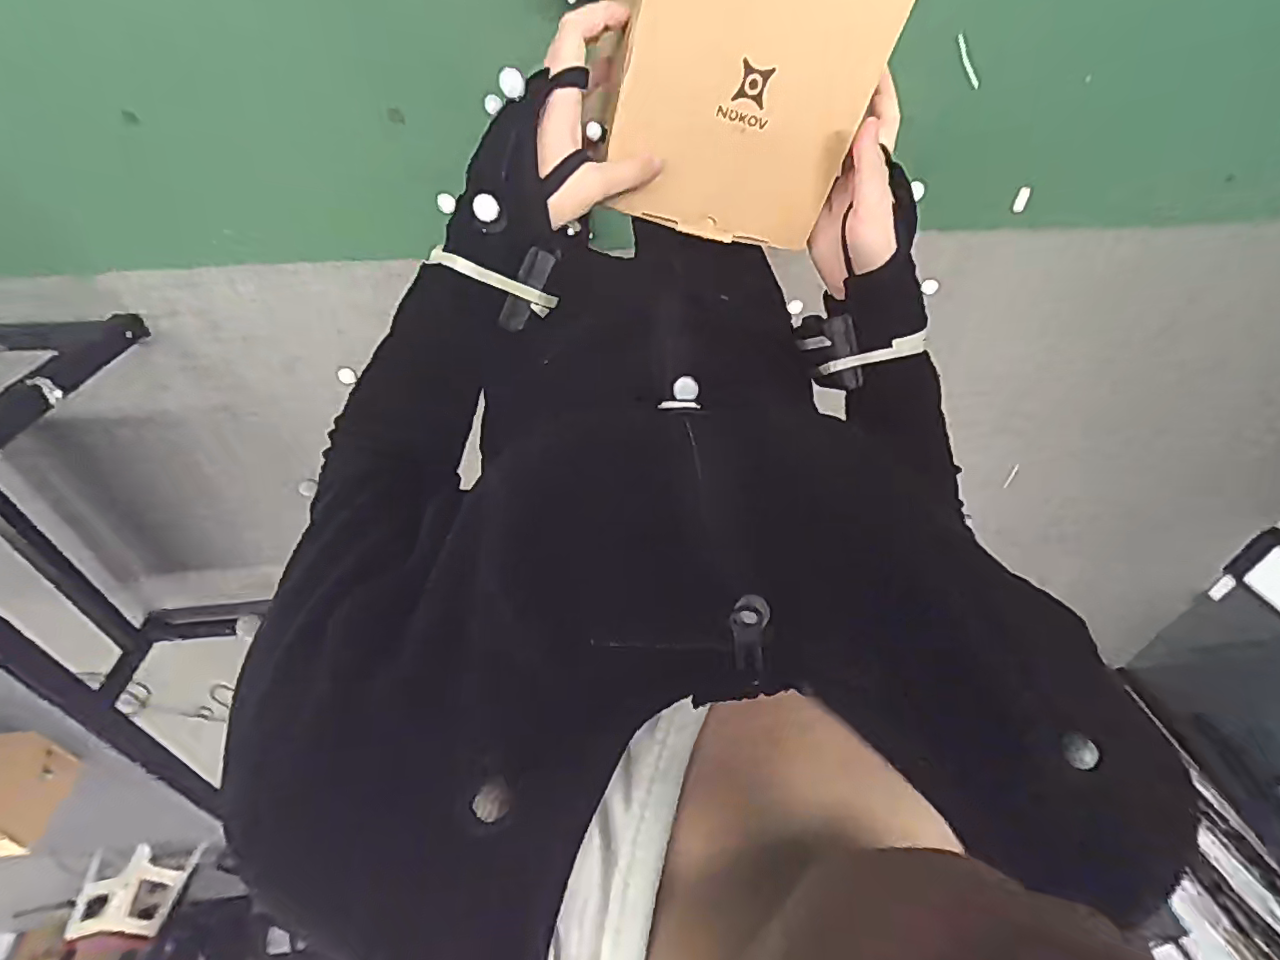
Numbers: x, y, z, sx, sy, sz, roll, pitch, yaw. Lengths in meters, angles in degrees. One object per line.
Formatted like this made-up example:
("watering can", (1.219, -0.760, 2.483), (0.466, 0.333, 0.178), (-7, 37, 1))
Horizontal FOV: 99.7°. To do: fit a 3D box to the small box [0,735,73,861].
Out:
("small box", (-1.279, 0.611, 1.036), (0.179, 0.176, 0.168), (-2, 131, -6))
